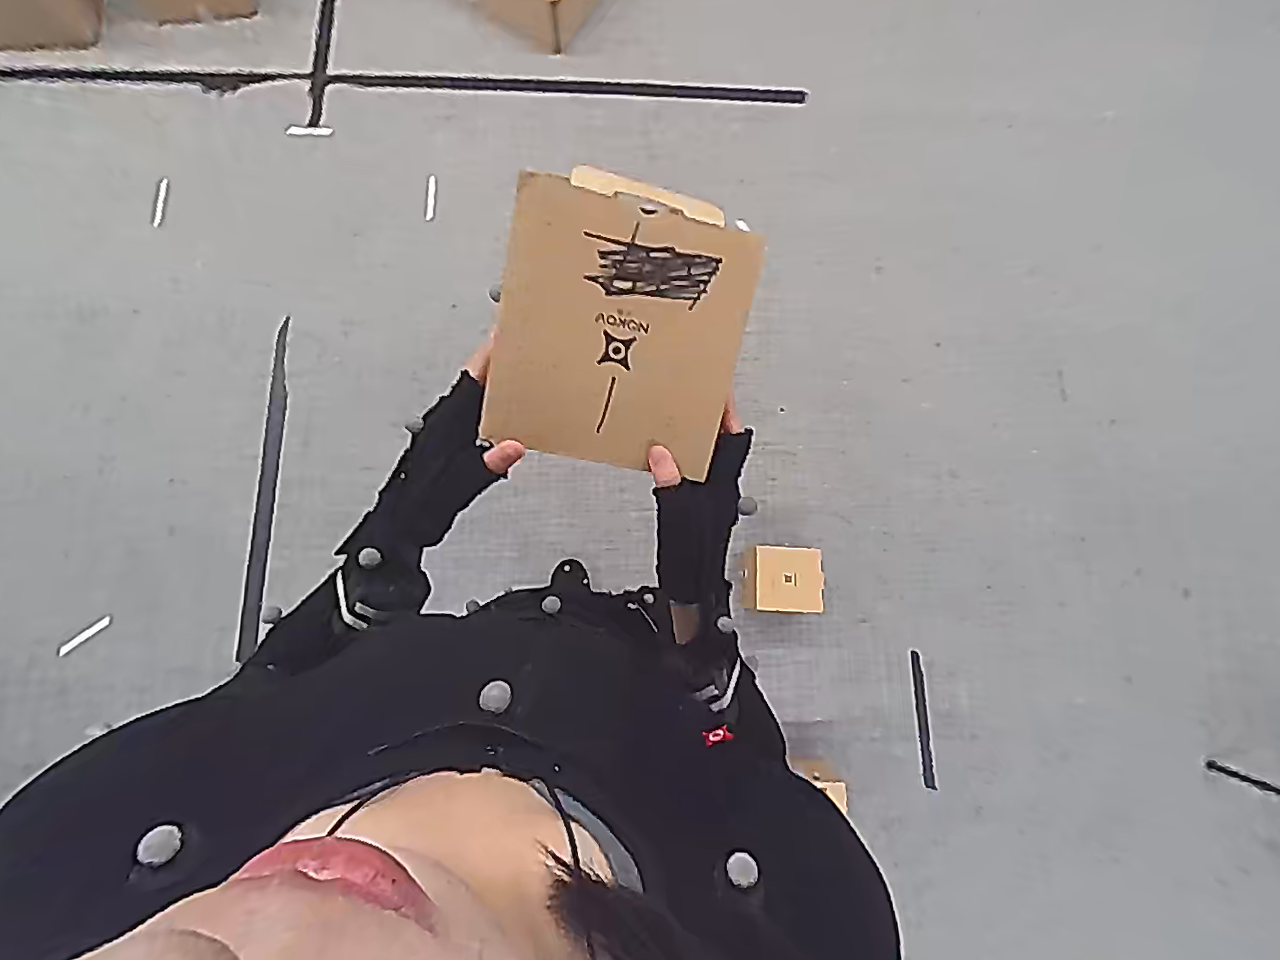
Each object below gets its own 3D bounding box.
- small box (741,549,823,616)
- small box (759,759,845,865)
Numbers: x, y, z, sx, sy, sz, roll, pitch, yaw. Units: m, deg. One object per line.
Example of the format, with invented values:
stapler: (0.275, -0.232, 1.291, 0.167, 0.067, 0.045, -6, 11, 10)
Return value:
small box: (0.380, 0.277, 1.465, 0.179, 0.176, 0.168, 3, 78, -1)
small box: (0.403, 0.831, 1.365, 0.168, 0.176, 0.179, 3, 81, -2)
